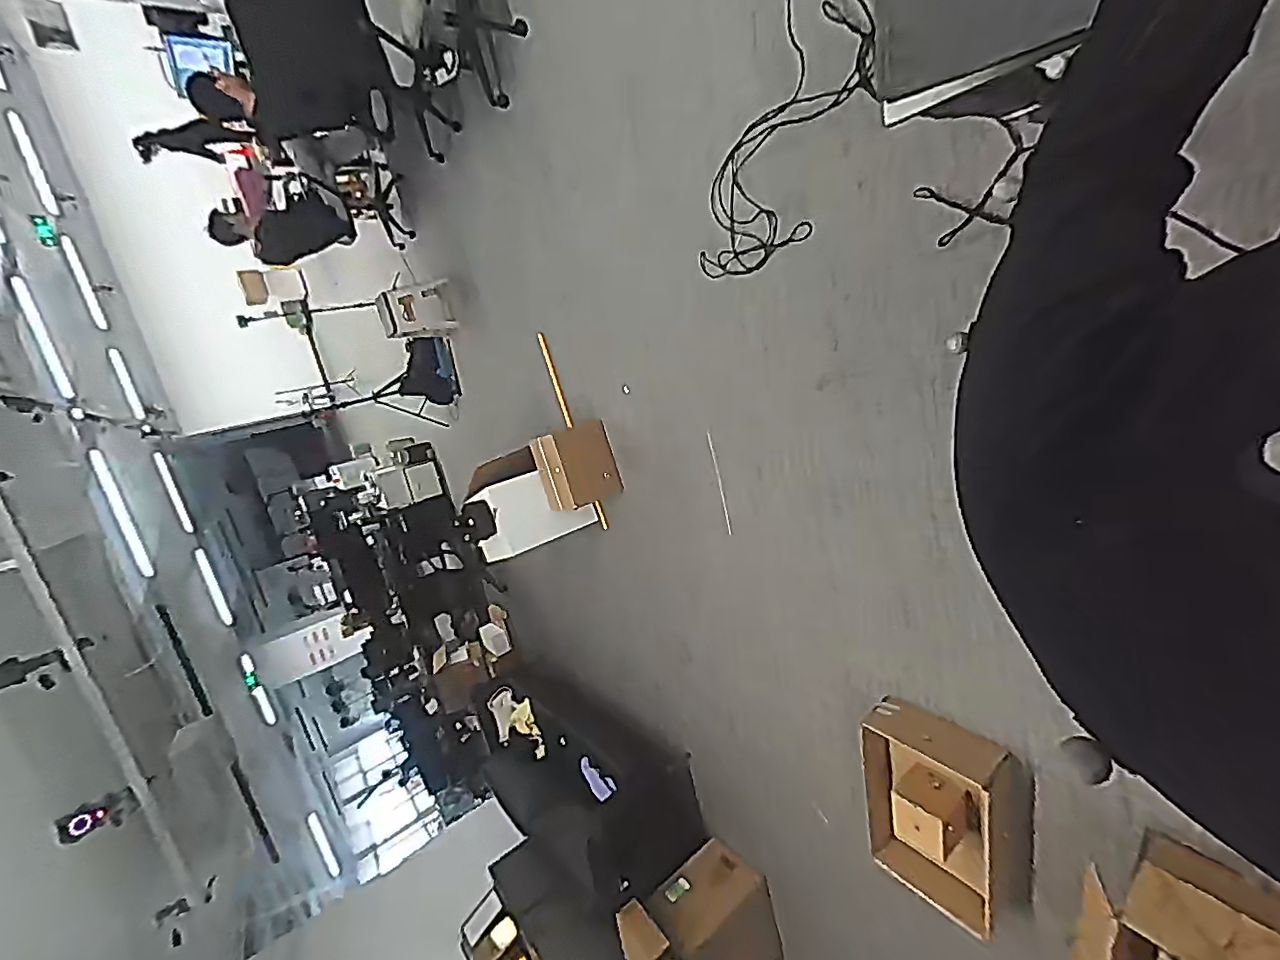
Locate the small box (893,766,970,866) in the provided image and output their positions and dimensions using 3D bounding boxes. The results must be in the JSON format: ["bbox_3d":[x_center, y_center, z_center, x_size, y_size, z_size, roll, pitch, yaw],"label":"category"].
[{"bbox_3d":[0.948,1.082,1.753,0.168,0.176,0.179,12,117,54],"label":"small box"}]
